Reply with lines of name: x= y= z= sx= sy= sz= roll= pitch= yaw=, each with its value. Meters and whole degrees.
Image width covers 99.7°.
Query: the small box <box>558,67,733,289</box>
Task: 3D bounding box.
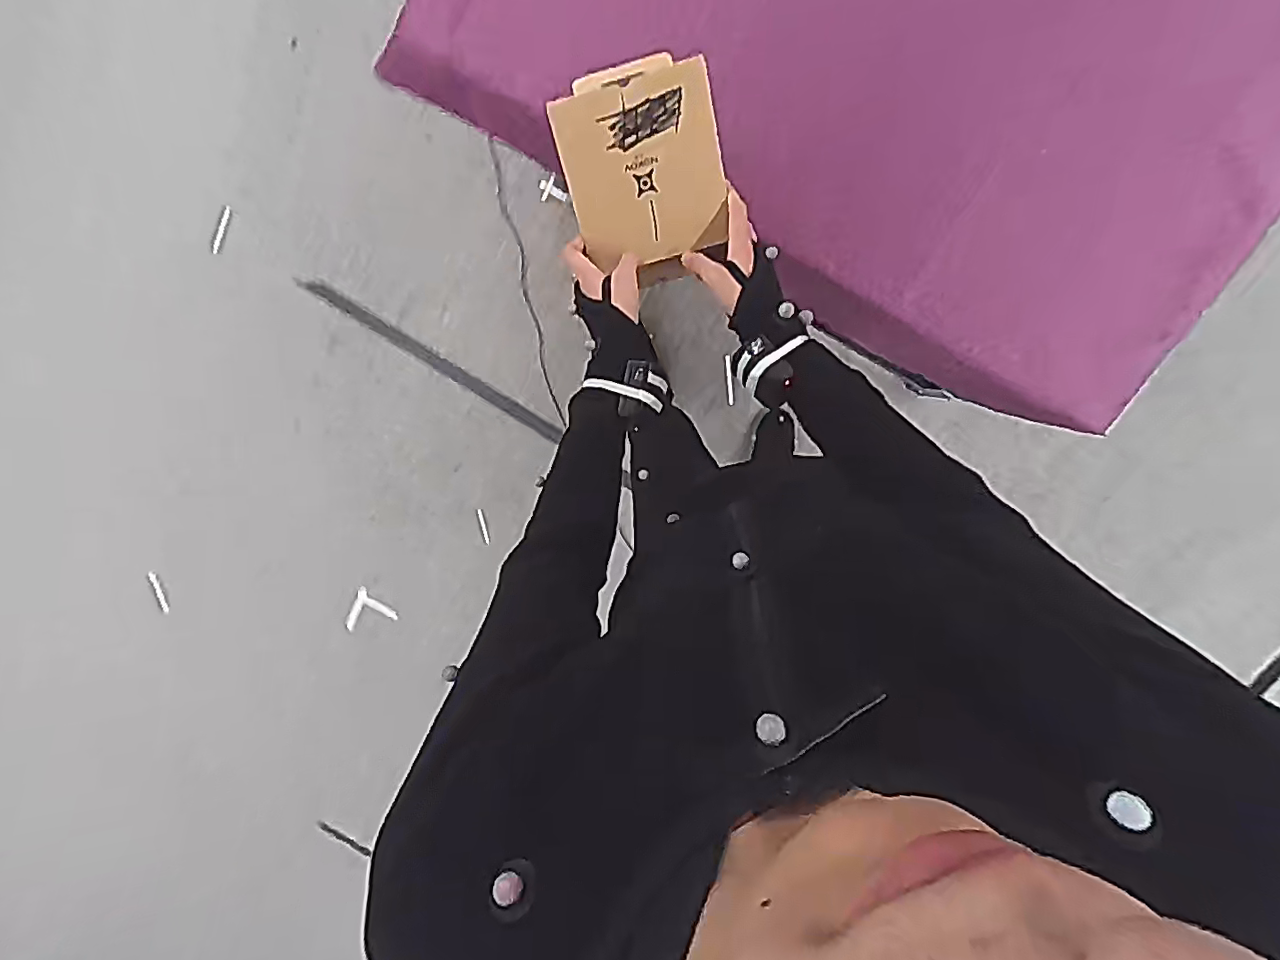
small box: x=0.011 y=-0.353 z=0.669 sx=0.168 sy=0.176 sz=0.179 roll=-12 pitch=101 yaw=6
